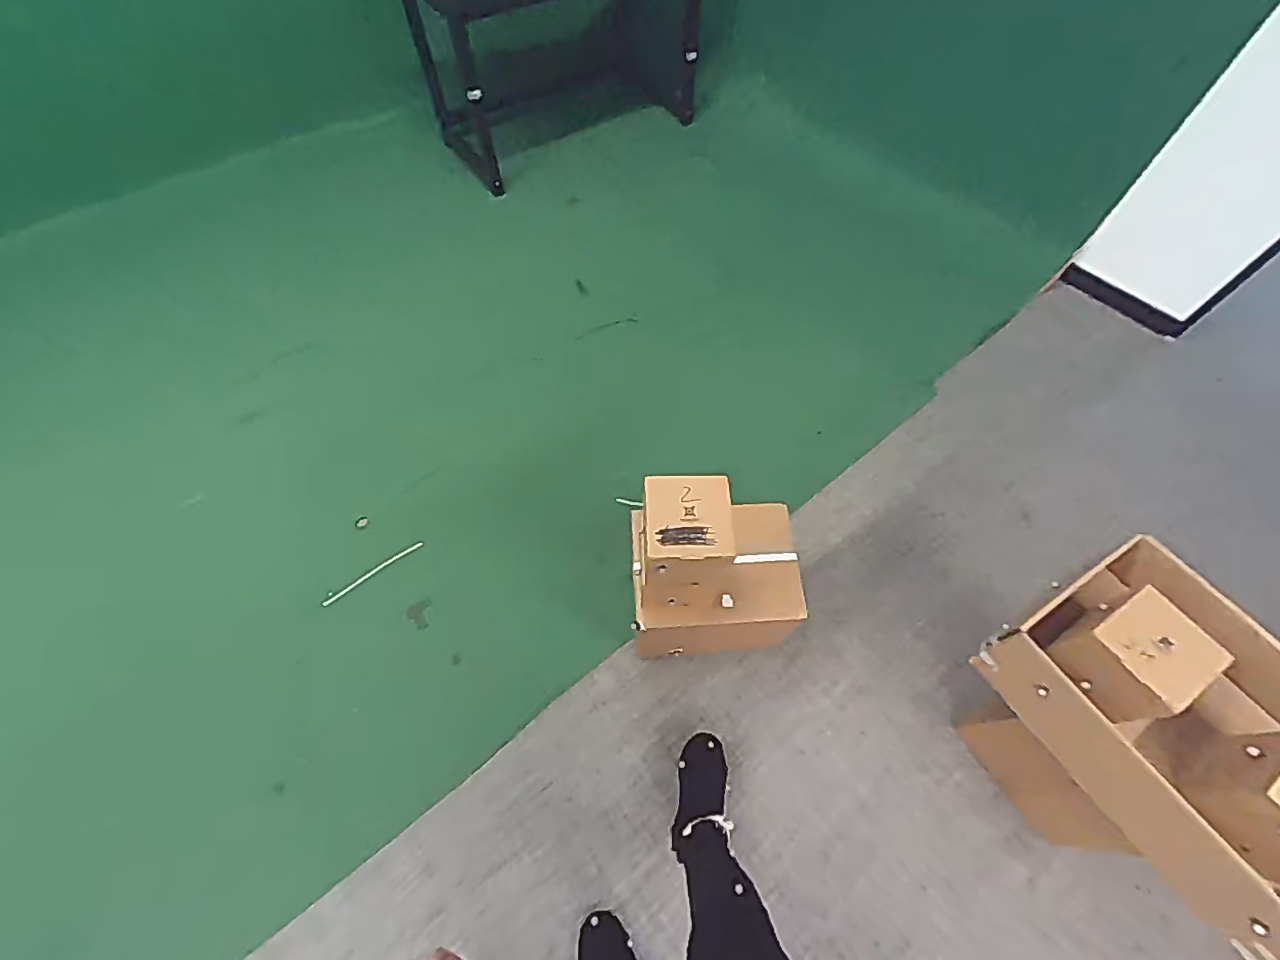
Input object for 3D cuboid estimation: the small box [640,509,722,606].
[{"bbox_3d":[0.086,0.180,1.237,0.168,0.176,0.179,-1,62,-2],"label":"small box"}]
